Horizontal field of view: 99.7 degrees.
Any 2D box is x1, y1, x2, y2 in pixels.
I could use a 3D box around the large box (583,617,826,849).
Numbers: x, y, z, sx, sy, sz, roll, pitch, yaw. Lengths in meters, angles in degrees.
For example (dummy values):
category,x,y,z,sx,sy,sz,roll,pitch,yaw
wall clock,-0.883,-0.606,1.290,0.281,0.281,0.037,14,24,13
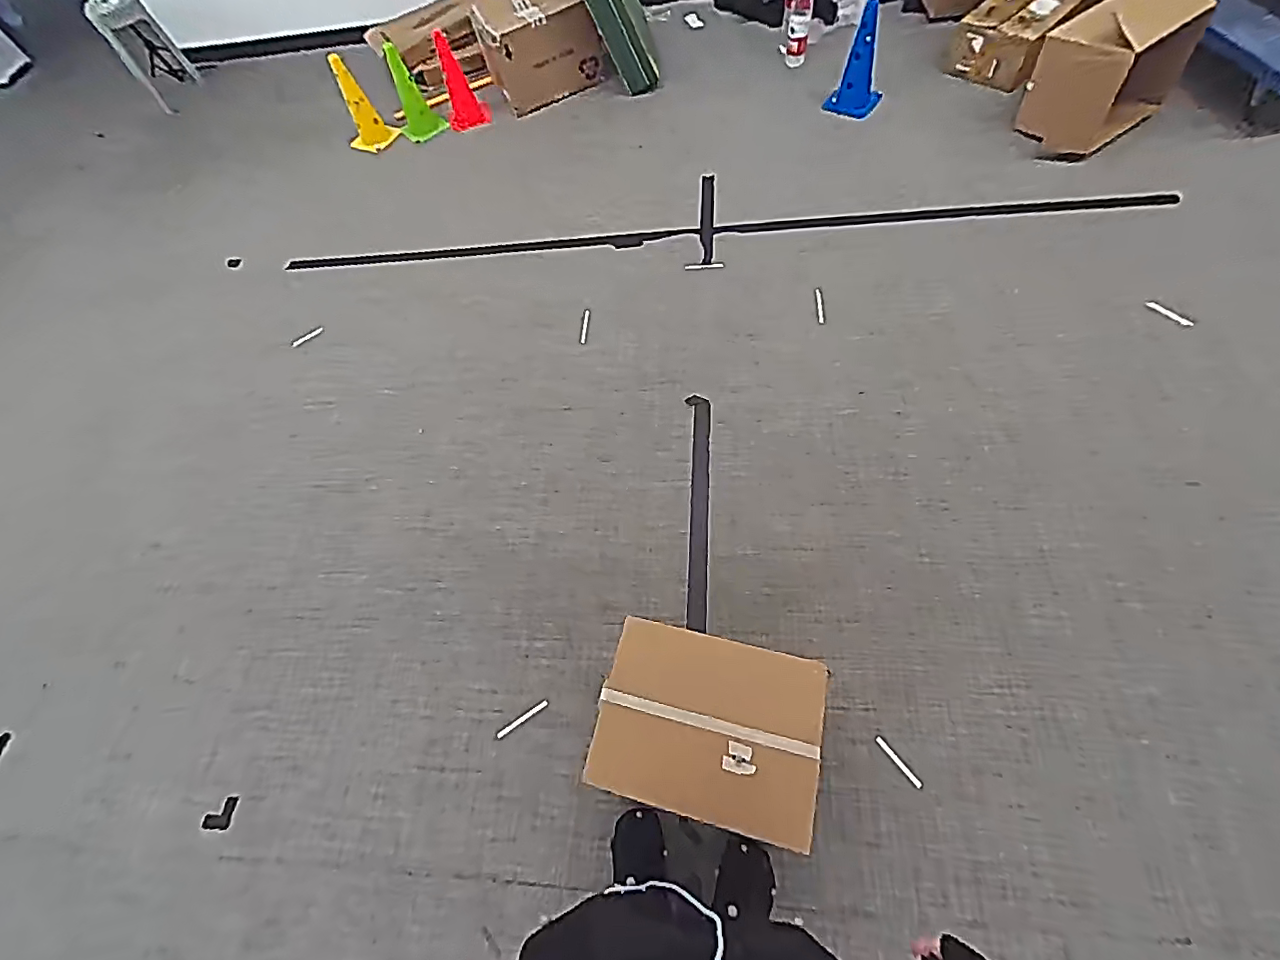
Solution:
category,x,y,z,sx,sy,sz,roll,pitch,yaw
large box,0.137,0.514,1.125,0.408,0.320,0.320,11,65,12
